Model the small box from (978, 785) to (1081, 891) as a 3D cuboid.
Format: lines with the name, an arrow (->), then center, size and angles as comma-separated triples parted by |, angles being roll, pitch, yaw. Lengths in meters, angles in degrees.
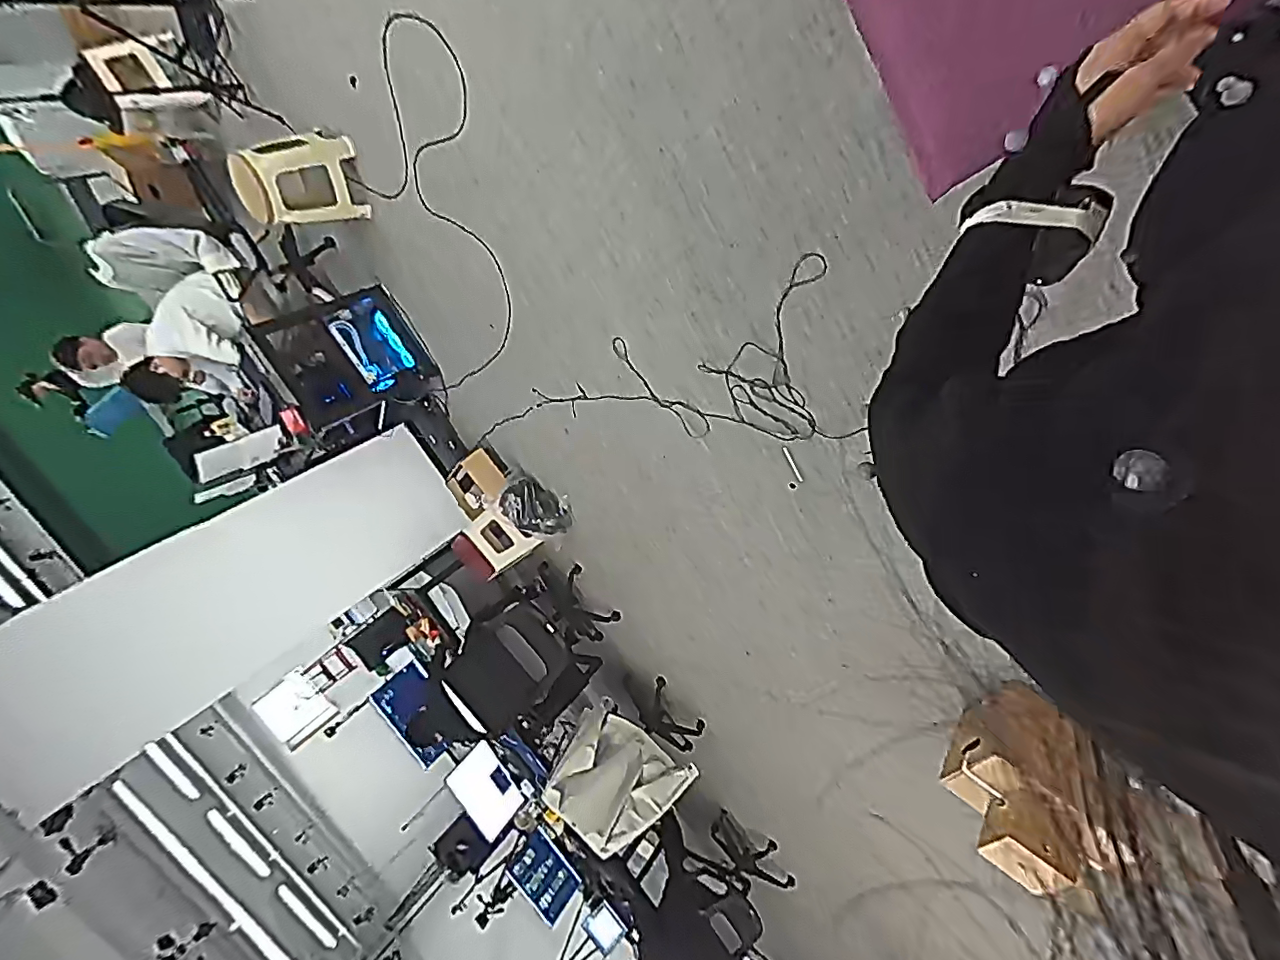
small box -> 1.128, 1.031, 1.562 | 0.179, 0.176, 0.168 | 34, 139, 23
